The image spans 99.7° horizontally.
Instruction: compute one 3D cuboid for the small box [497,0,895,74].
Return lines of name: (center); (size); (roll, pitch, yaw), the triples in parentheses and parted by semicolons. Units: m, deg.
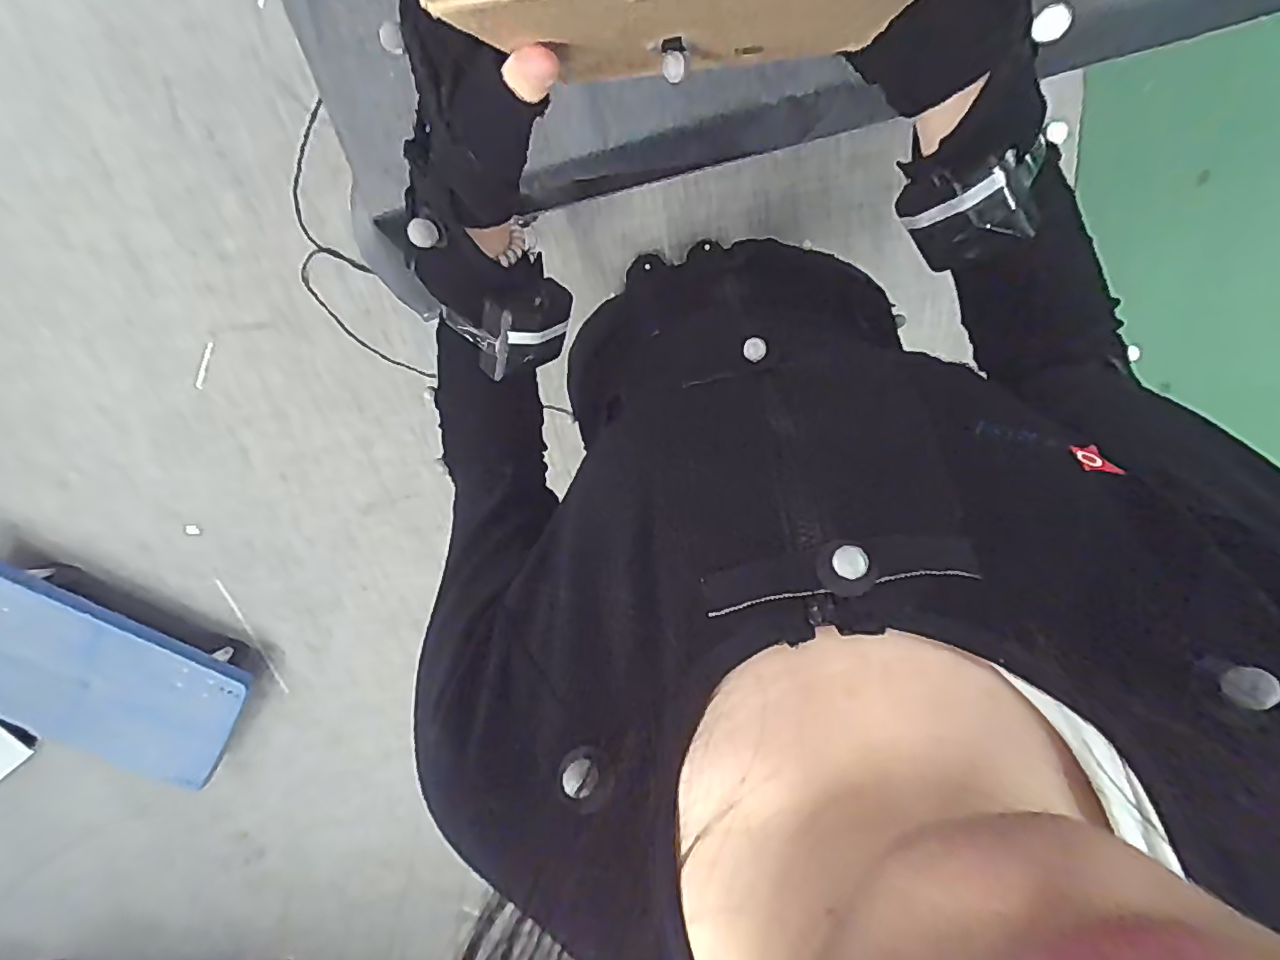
small box: (0.018, -0.264, 0.181); (0.168, 0.176, 0.179); (-1, 120, 9)
